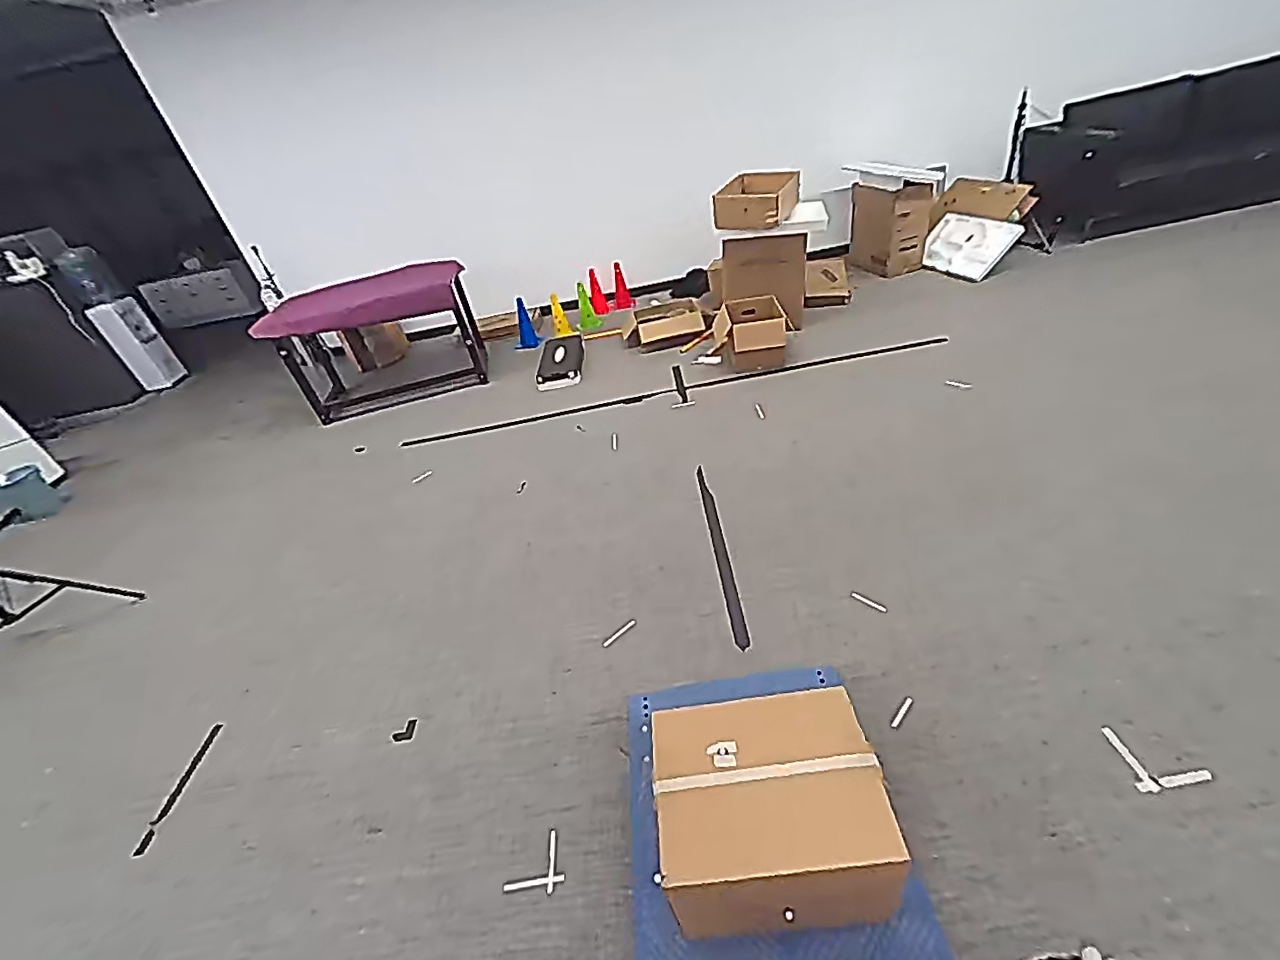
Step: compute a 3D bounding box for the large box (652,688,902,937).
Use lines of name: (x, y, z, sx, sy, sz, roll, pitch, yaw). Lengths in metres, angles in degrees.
large box: (0.258, 0.675, 1.103, 0.408, 0.320, 0.320, -11, 35, 5)
